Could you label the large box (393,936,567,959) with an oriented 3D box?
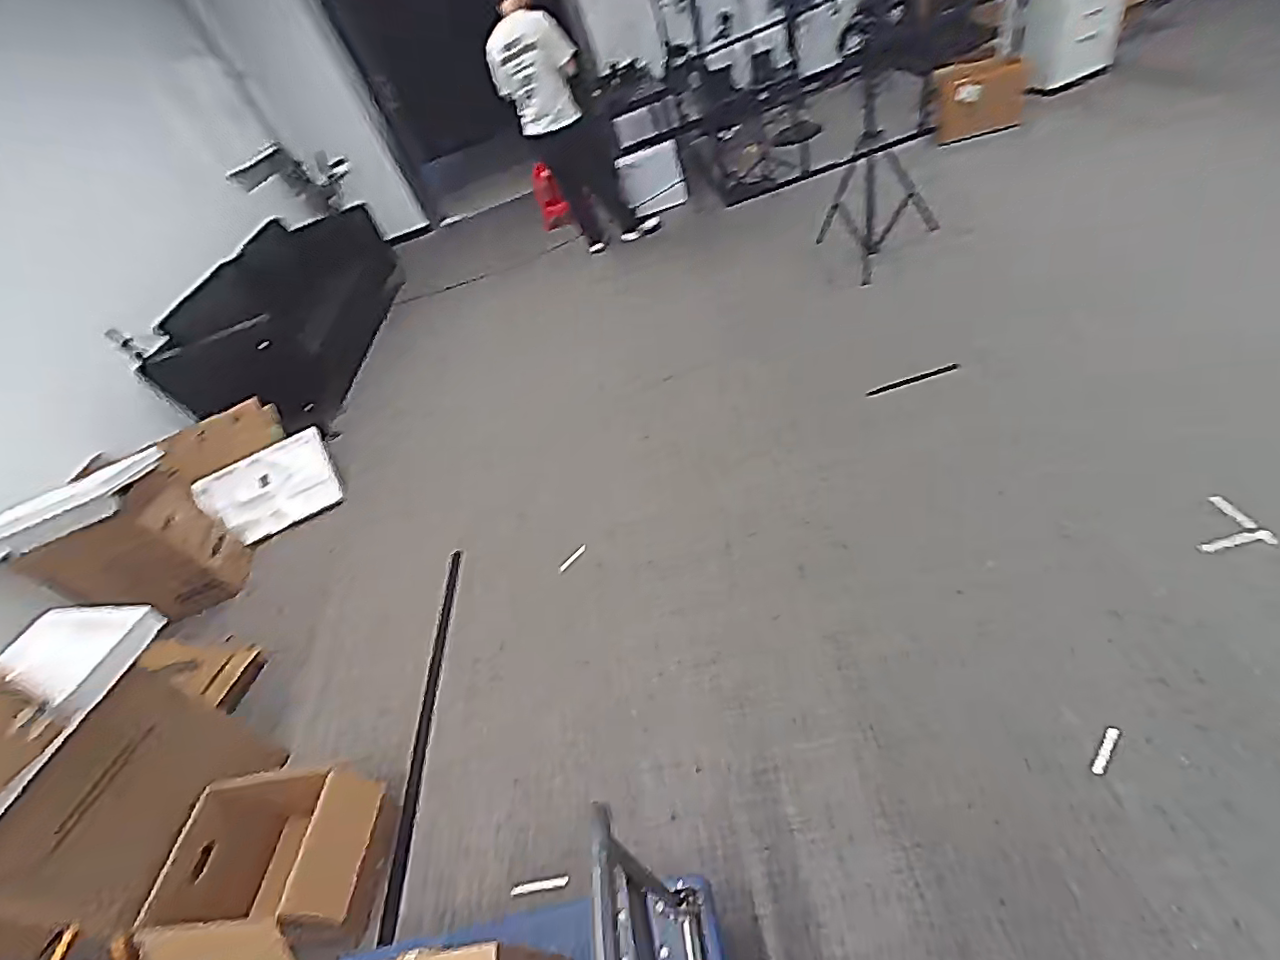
[{"bbox_3d":[-0.306,1.034,0.872,0.320,0.320,0.408,-18,43,7],"label":"large box"}]
